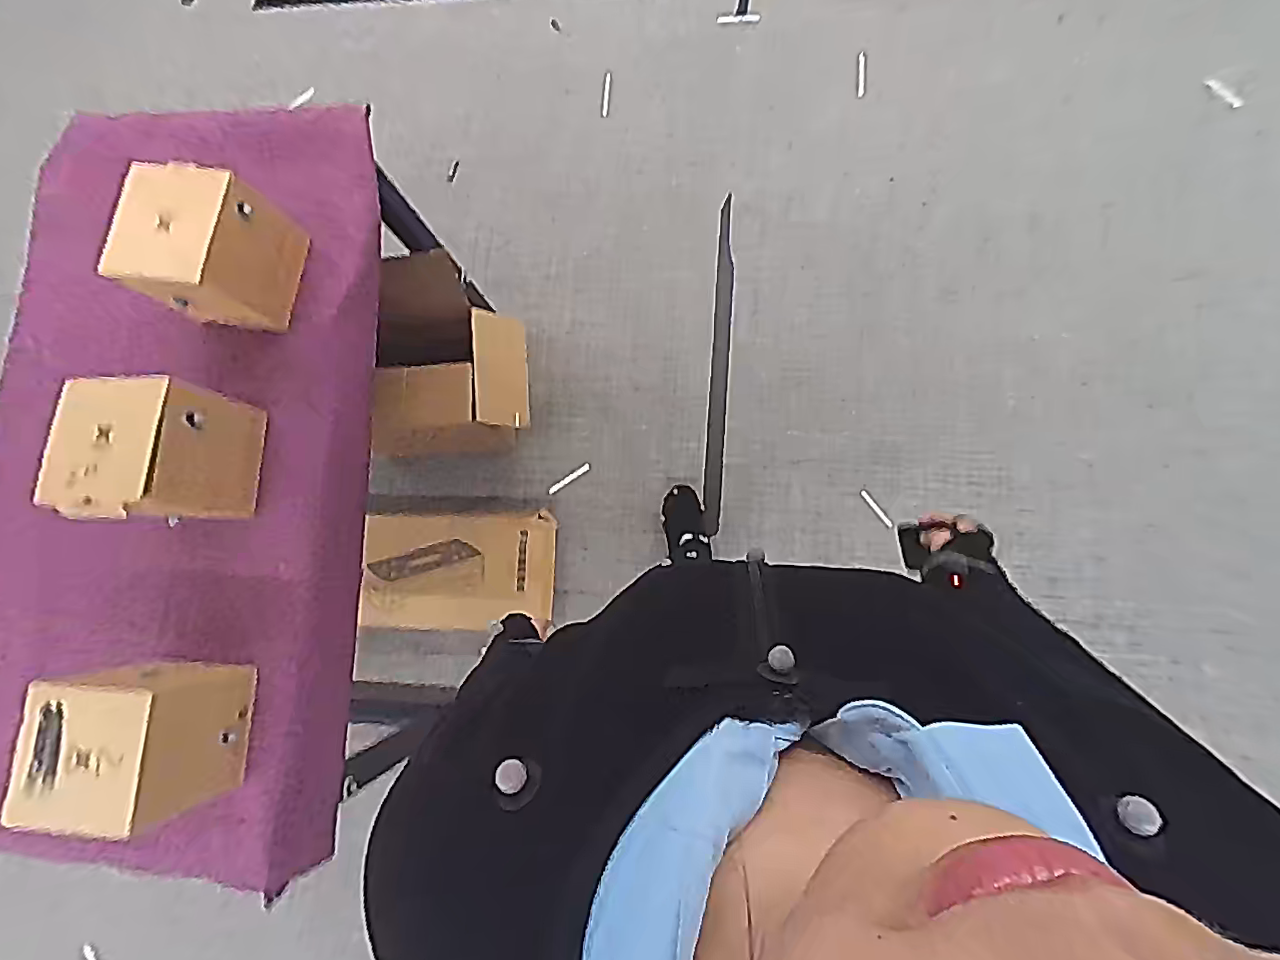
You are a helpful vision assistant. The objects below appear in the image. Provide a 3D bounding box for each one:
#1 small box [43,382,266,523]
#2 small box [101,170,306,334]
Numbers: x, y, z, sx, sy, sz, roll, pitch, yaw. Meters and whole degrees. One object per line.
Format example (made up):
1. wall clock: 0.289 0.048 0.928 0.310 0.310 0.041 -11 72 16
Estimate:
1. small box: -0.694 -0.032 0.795 0.168 0.176 0.179 0 81 8
2. small box: -0.663 -0.345 0.844 0.168 0.176 0.179 7 81 7
